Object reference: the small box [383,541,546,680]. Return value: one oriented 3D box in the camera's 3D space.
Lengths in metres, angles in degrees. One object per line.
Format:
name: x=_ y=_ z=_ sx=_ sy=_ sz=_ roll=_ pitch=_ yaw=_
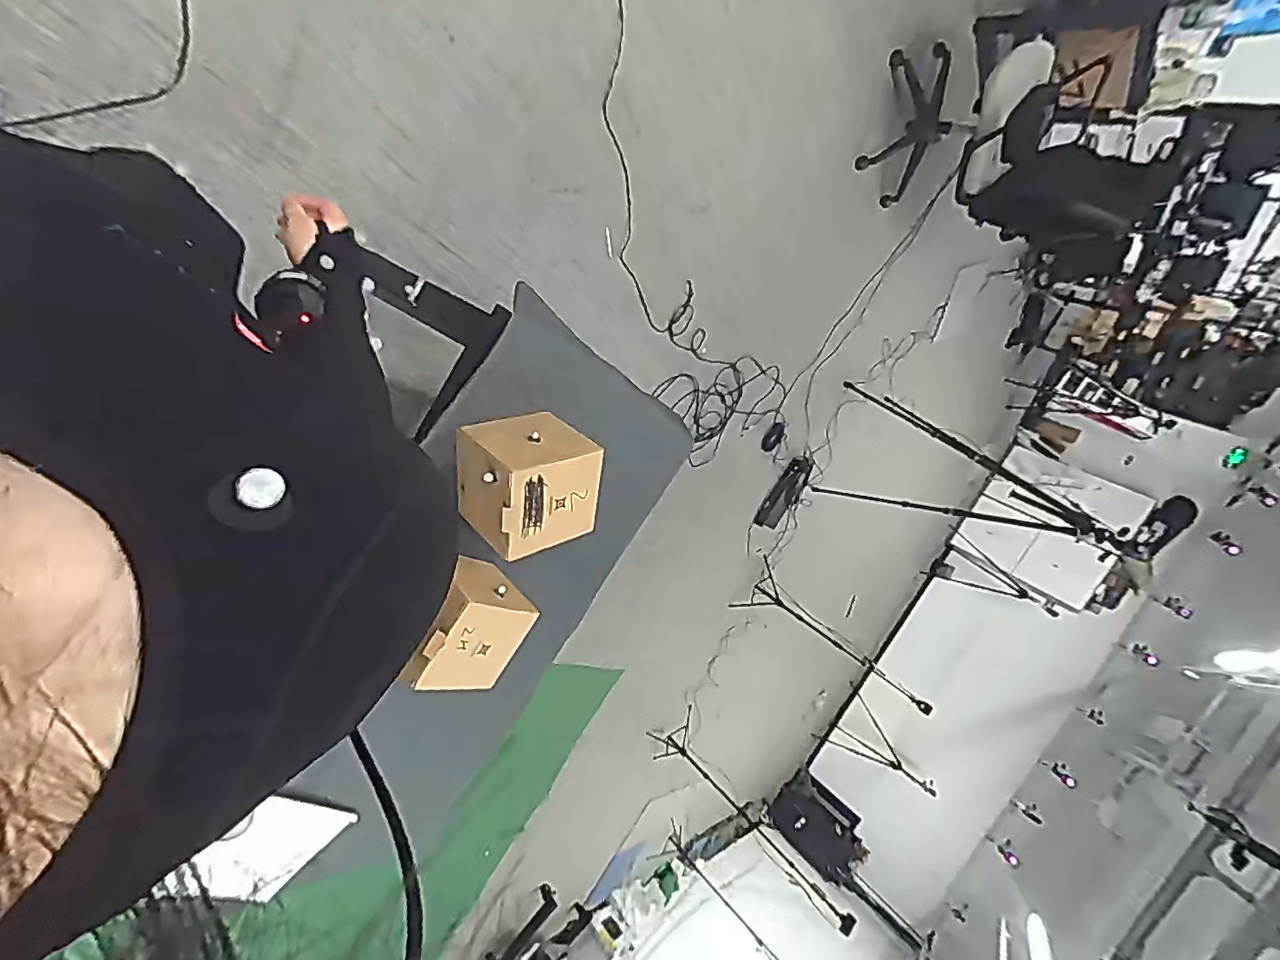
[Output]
small box: x=-0.306 y=0.228 z=0.946 sx=0.168 sy=0.176 sz=0.179 roll=-57 pitch=143 yaw=1
